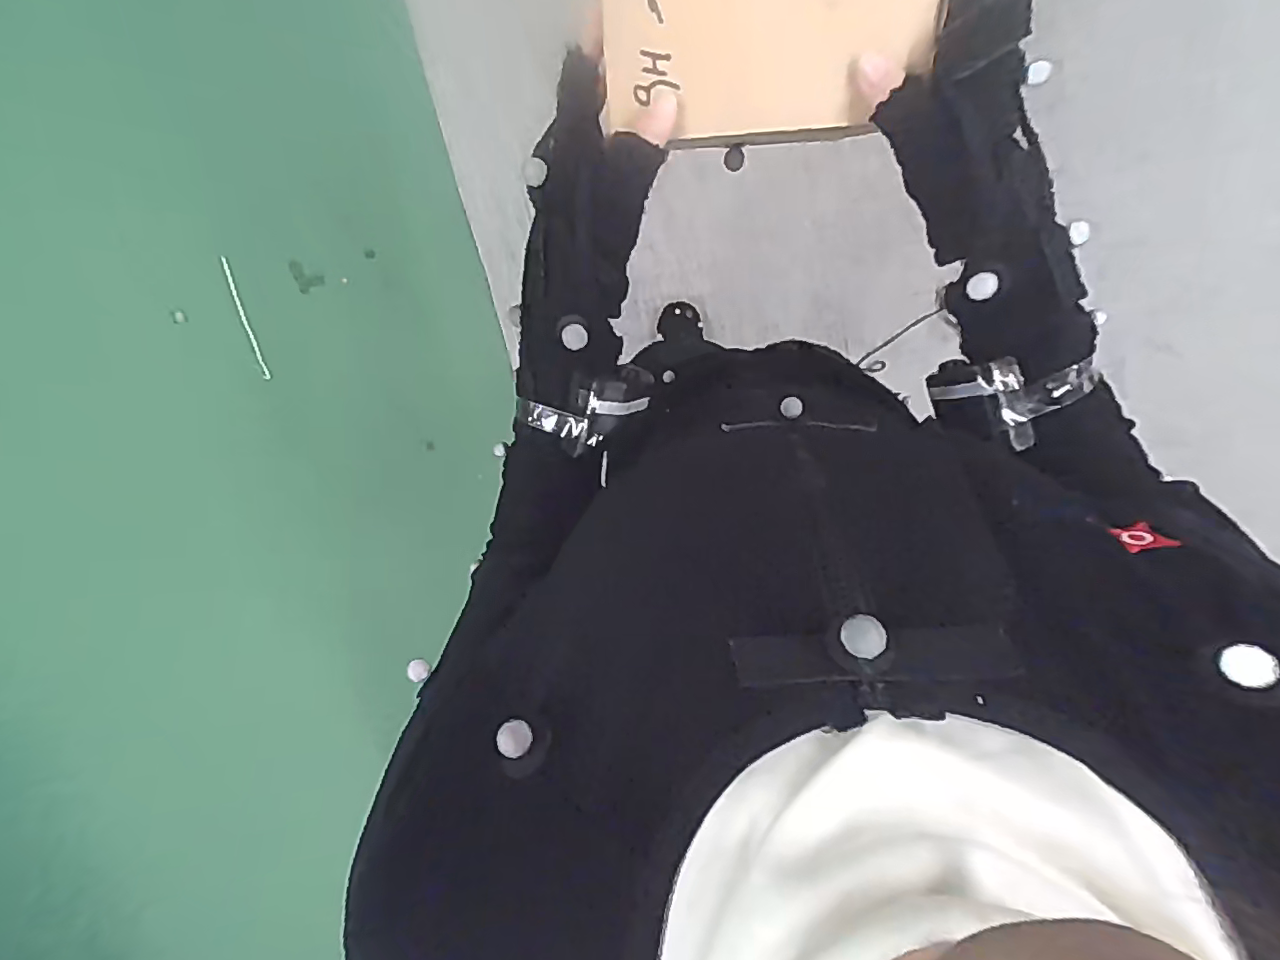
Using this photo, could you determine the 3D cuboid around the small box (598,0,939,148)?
[{"bbox_3d":[0.062,-0.306,0.330,0.179,0.176,0.168,-3,118,1],"label":"small box"}]
